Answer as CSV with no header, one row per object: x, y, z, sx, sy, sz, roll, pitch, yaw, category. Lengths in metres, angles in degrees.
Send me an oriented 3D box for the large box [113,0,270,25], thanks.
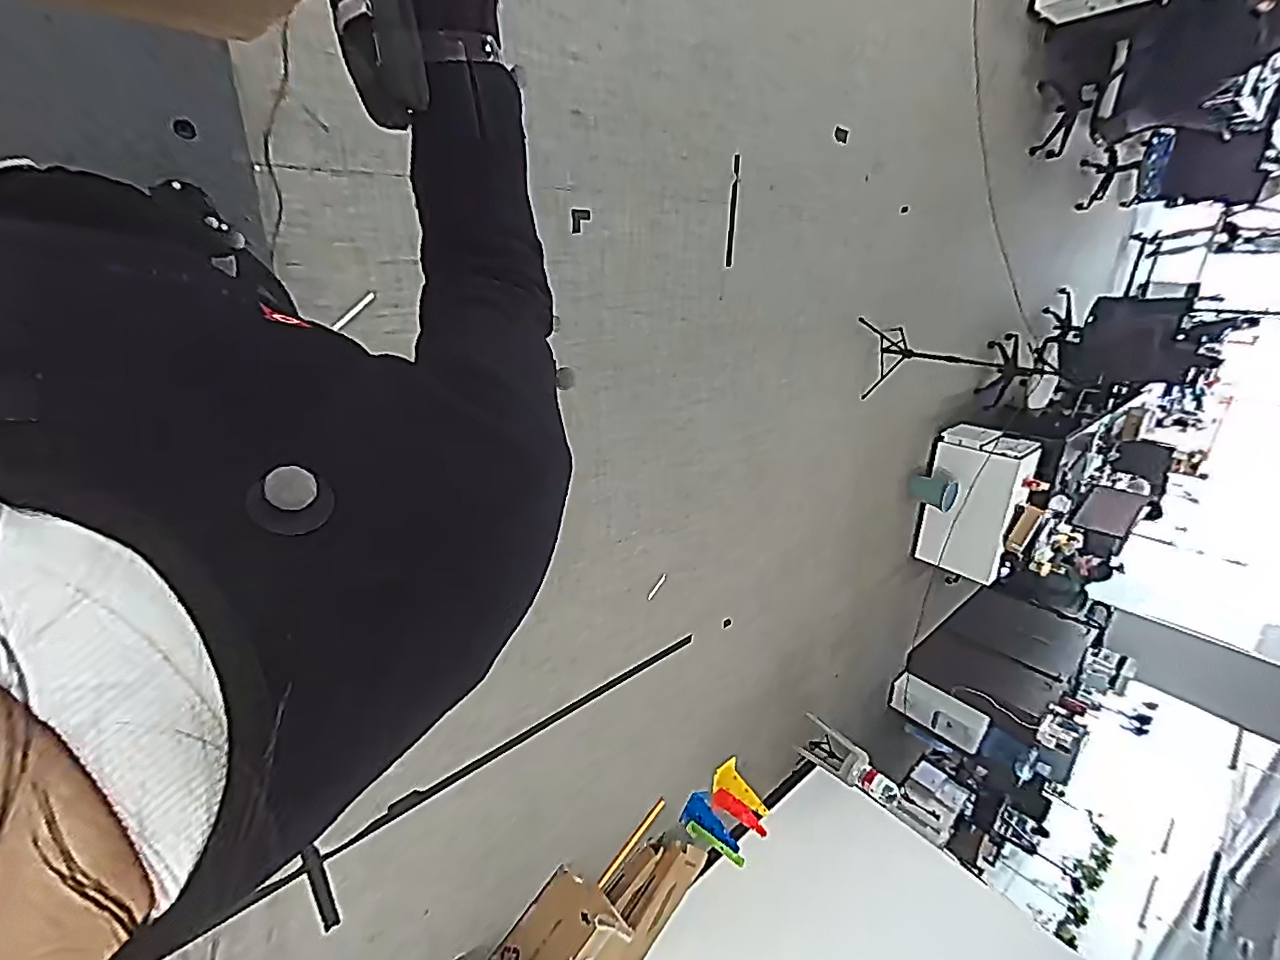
-0.391,-0.425,0.195,0.408,0.320,0.320,-18,126,-37,large box
